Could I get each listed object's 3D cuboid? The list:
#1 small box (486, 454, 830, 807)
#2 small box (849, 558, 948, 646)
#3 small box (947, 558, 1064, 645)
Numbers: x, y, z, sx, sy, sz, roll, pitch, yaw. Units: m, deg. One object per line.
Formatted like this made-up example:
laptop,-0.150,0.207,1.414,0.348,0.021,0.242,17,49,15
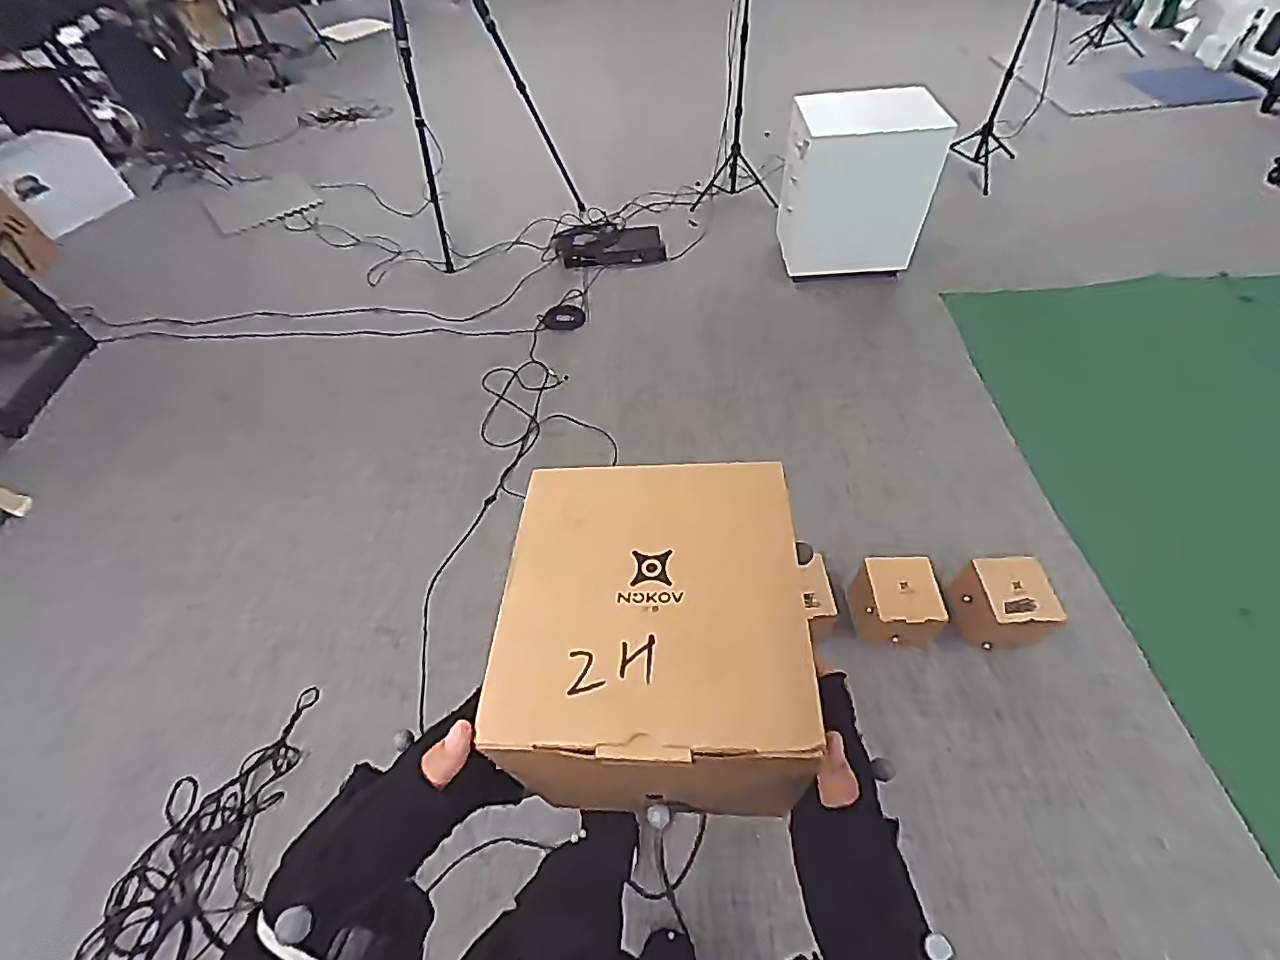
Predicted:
small box,0.018,0.102,0.365,0.168,0.176,0.179,-2,51,7
small box,0.667,0.321,1.422,0.168,0.176,0.179,-2,53,3
small box,0.935,0.321,1.402,0.168,0.176,0.179,-2,53,2
